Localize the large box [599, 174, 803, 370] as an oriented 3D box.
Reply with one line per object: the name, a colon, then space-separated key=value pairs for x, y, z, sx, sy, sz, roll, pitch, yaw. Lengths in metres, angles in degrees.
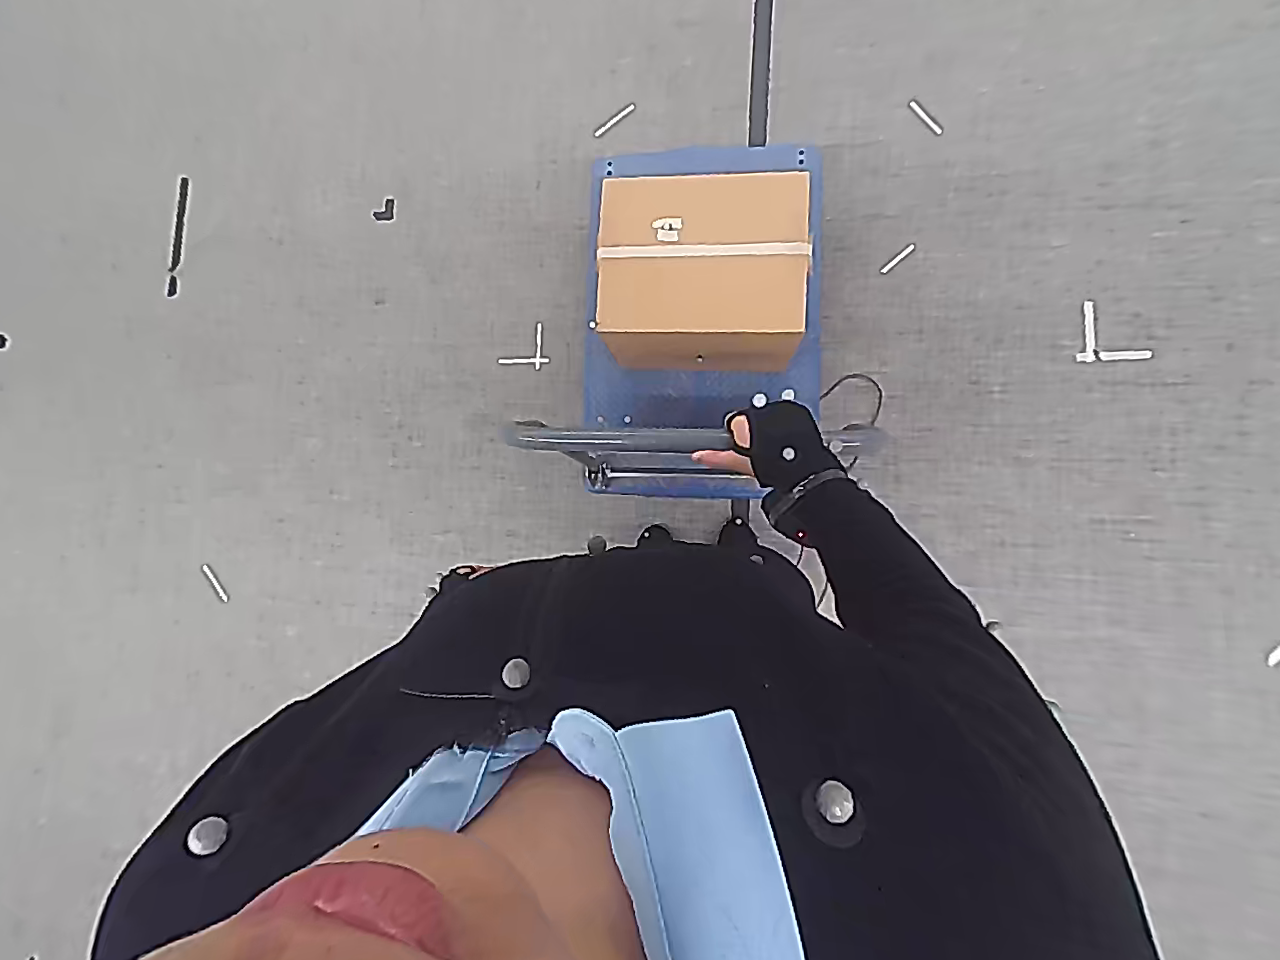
large box: x=0.141 y=-0.435 z=1.211 sx=0.408 sy=0.320 sz=0.320 roll=1 pitch=86 yaw=9
